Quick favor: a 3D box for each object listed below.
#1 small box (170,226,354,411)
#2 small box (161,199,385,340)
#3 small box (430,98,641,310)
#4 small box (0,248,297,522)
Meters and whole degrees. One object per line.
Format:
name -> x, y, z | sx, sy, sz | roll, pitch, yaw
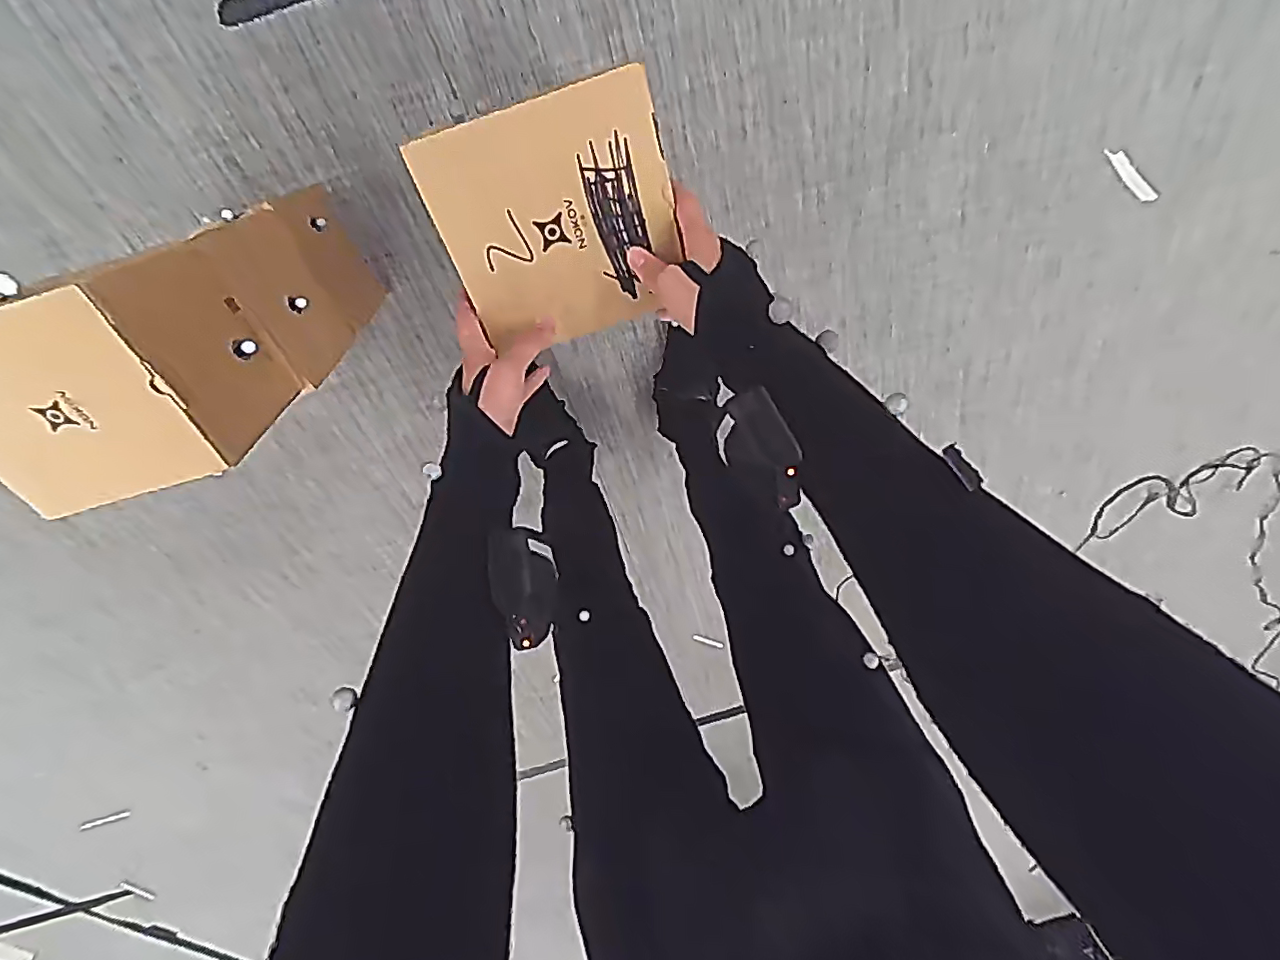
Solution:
small box -> -0.476, -0.179, 0.633 | 0.168, 0.176, 0.179 | -20, 126, 4
small box -> -0.496, -0.277, 0.763 | 0.168, 0.176, 0.179 | -22, 126, 5
small box -> -0.111, -0.316, 0.609 | 0.179, 0.176, 0.168 | -16, 125, -1
small box -> -0.465, -0.093, 0.494 | 0.179, 0.176, 0.168 | -16, 125, 1
